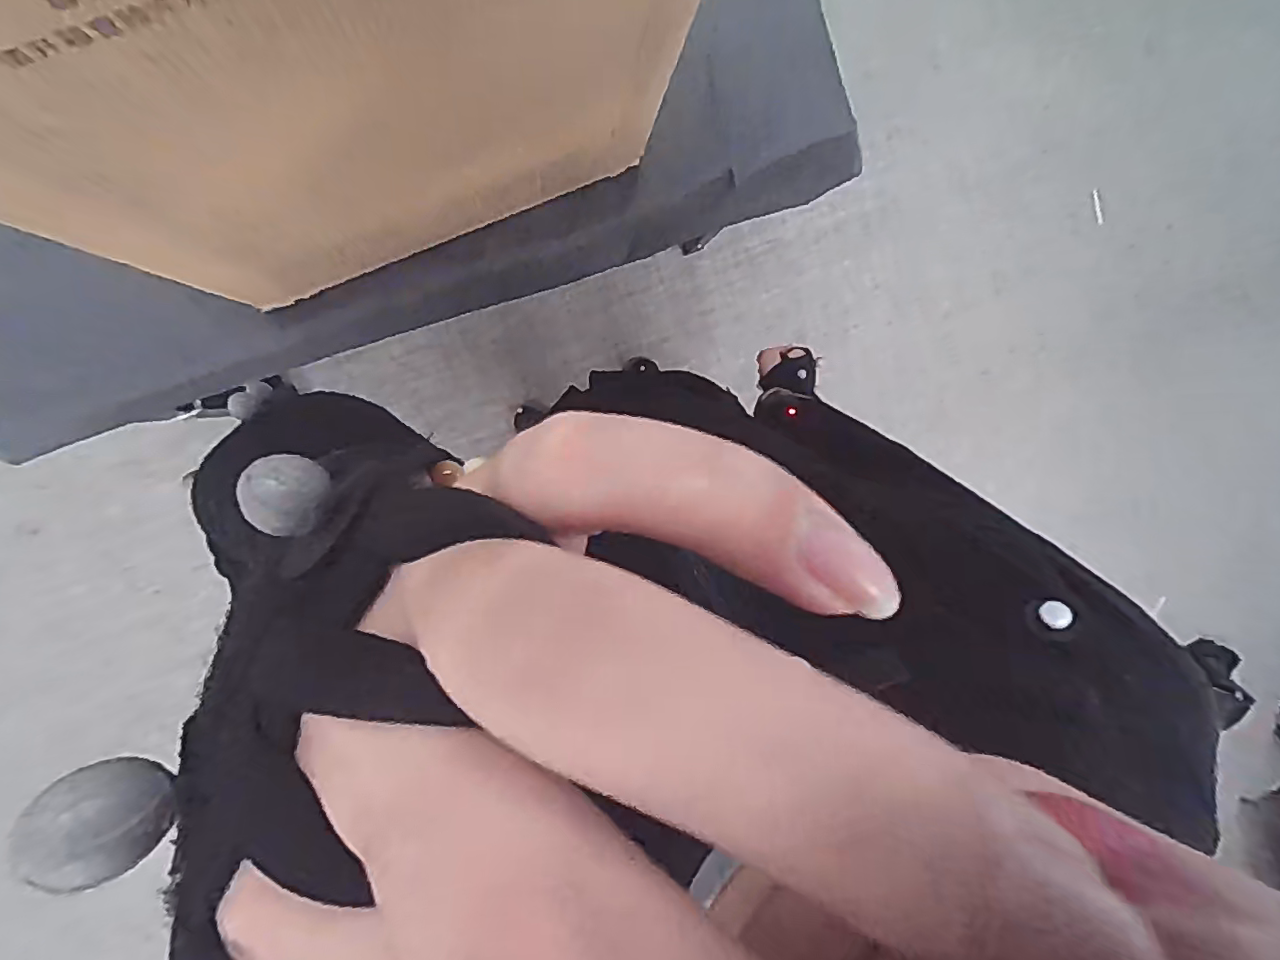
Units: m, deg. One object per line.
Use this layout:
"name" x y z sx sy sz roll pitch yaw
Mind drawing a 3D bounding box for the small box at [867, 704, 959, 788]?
"small box" 0.881 0.859 1.760 0.179 0.176 0.168 19 93 -11
